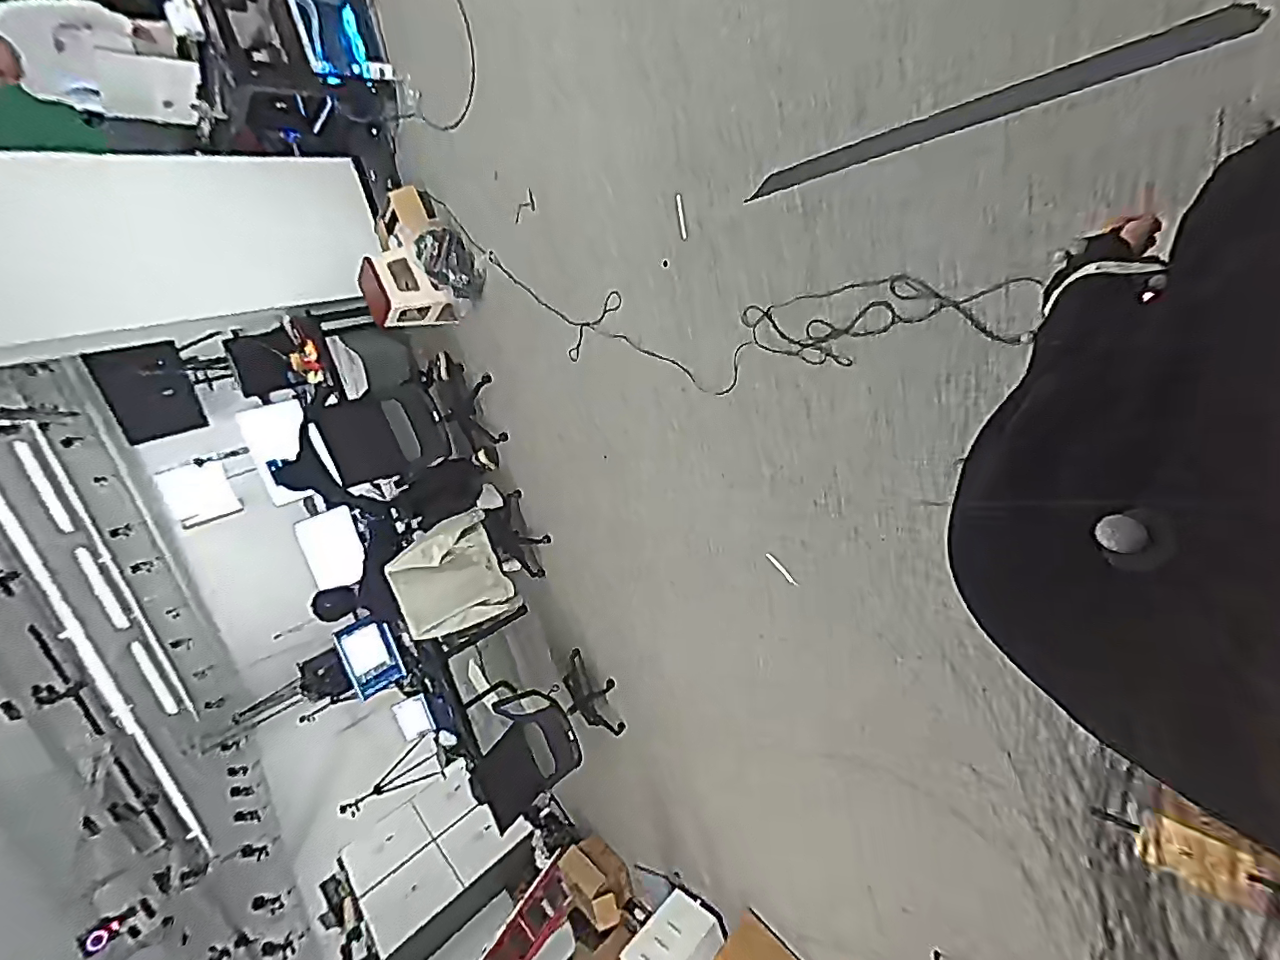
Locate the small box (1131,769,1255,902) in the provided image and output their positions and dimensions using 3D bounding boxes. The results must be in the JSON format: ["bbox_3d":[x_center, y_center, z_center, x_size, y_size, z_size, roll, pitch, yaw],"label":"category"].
[{"bbox_3d":[1.324,0.837,1.297,0.179,0.176,0.168,15,122,45],"label":"small box"}]
